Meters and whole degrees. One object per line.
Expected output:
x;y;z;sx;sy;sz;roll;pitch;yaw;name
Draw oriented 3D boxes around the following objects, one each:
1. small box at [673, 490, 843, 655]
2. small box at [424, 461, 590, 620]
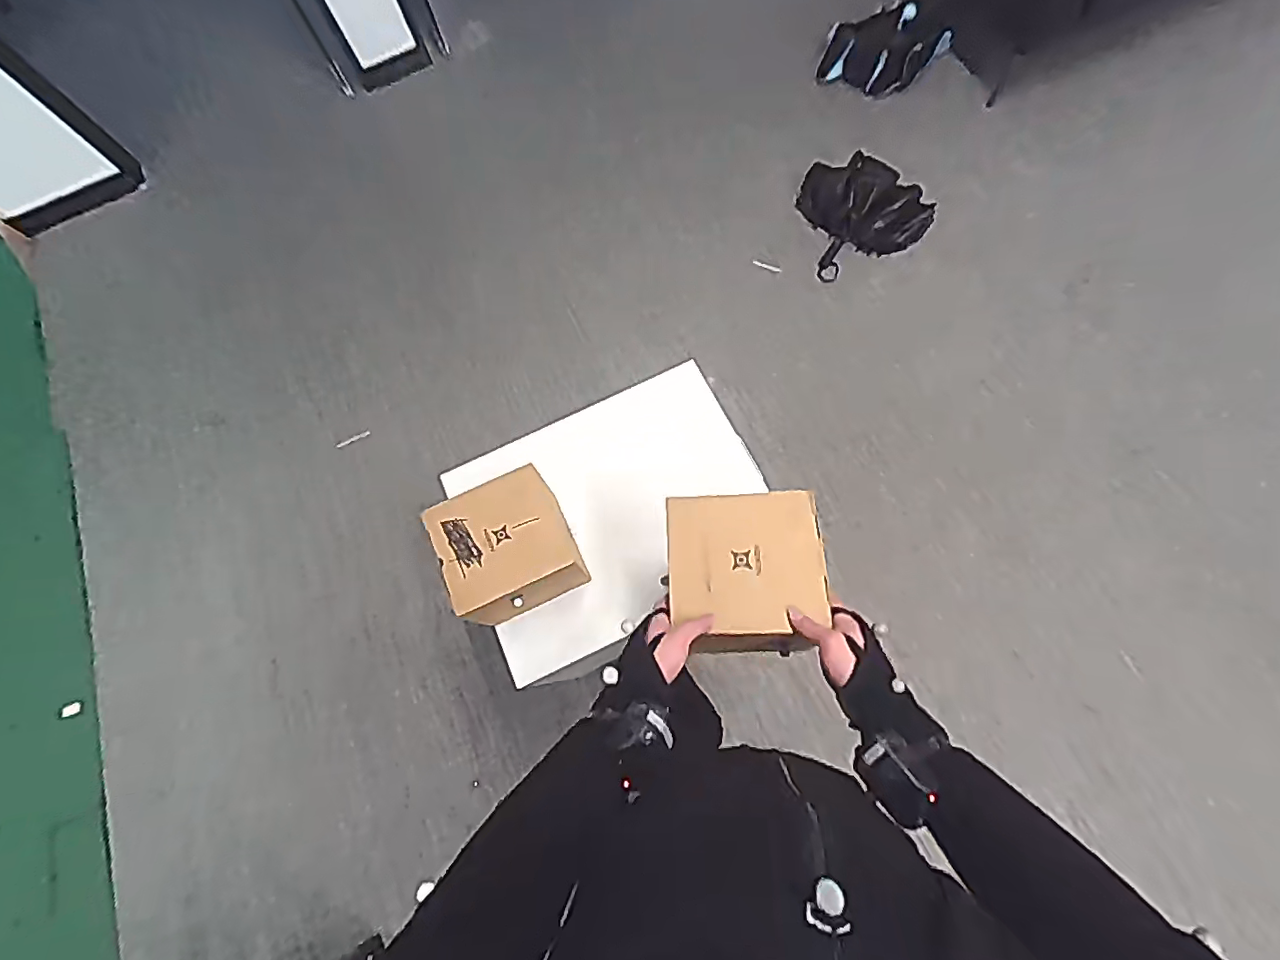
0.133;0.121;0.672;0.179;0.176;0.168;-3;64;6;small box
-0.190;0.100;0.815;0.179;0.176;0.168;-24;73;-6;small box
